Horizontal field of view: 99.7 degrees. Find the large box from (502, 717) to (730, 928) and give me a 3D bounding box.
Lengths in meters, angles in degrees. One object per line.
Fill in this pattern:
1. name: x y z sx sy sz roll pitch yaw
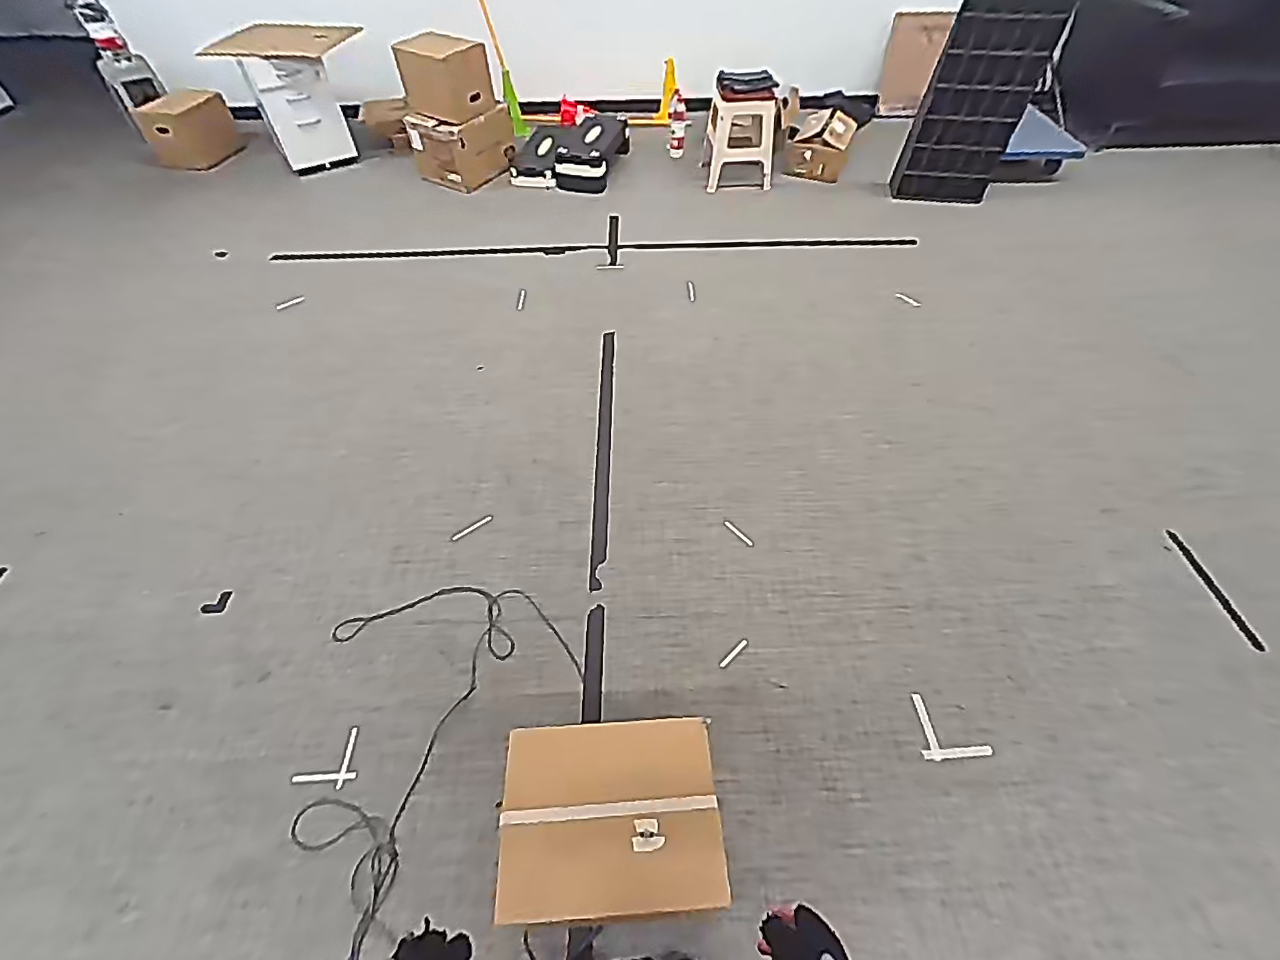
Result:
1. large box: -0.053 0.720 1.136 0.408 0.320 0.320 -2 50 -2
